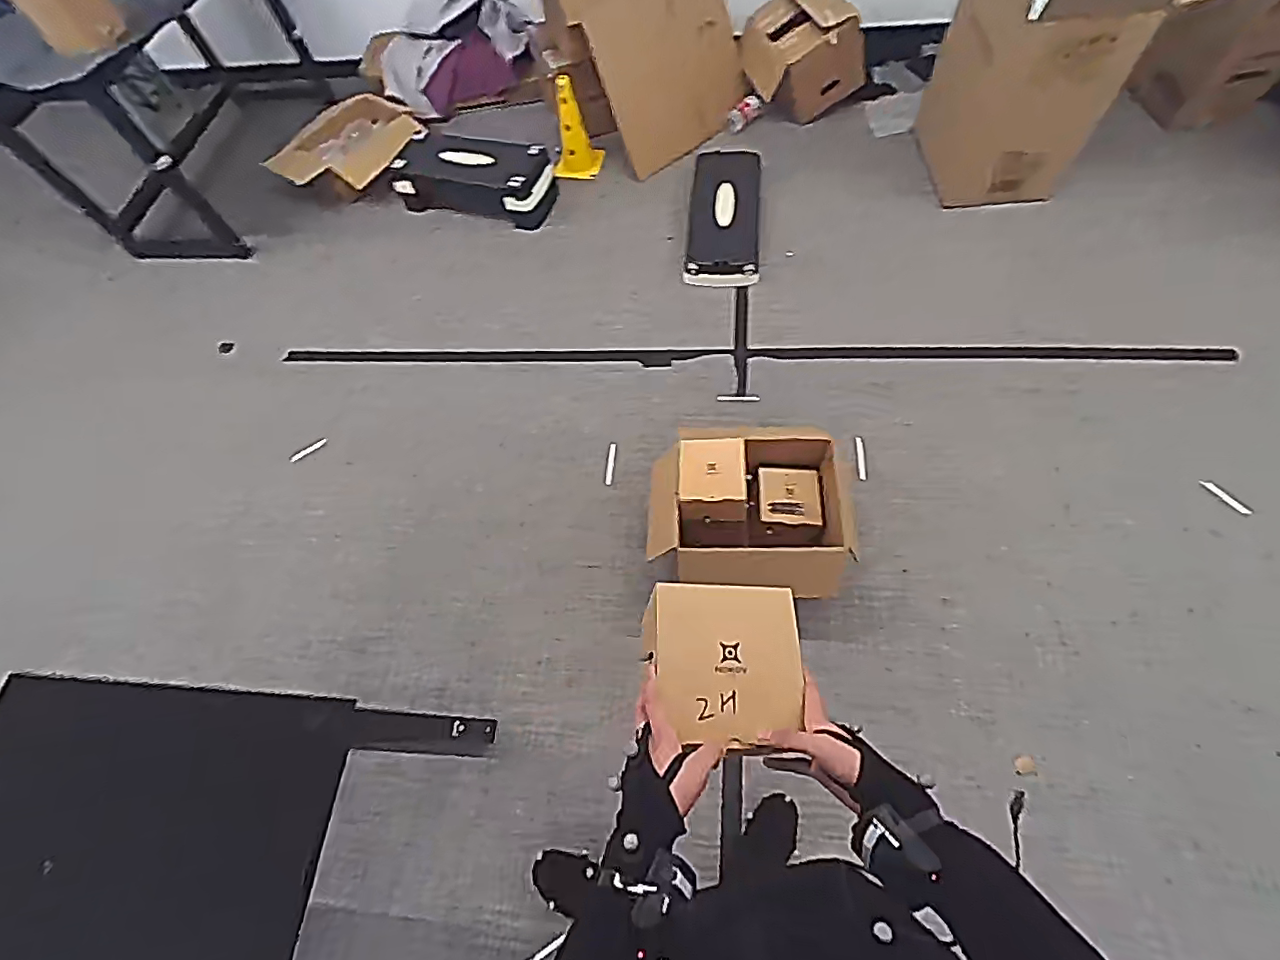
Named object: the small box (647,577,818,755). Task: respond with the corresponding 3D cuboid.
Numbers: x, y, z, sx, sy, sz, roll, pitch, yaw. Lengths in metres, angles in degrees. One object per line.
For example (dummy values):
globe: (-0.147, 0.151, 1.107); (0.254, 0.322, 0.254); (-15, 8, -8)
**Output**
small box: (0.098, 0.232, 0.662); (0.168, 0.176, 0.179); (3, 61, -3)
